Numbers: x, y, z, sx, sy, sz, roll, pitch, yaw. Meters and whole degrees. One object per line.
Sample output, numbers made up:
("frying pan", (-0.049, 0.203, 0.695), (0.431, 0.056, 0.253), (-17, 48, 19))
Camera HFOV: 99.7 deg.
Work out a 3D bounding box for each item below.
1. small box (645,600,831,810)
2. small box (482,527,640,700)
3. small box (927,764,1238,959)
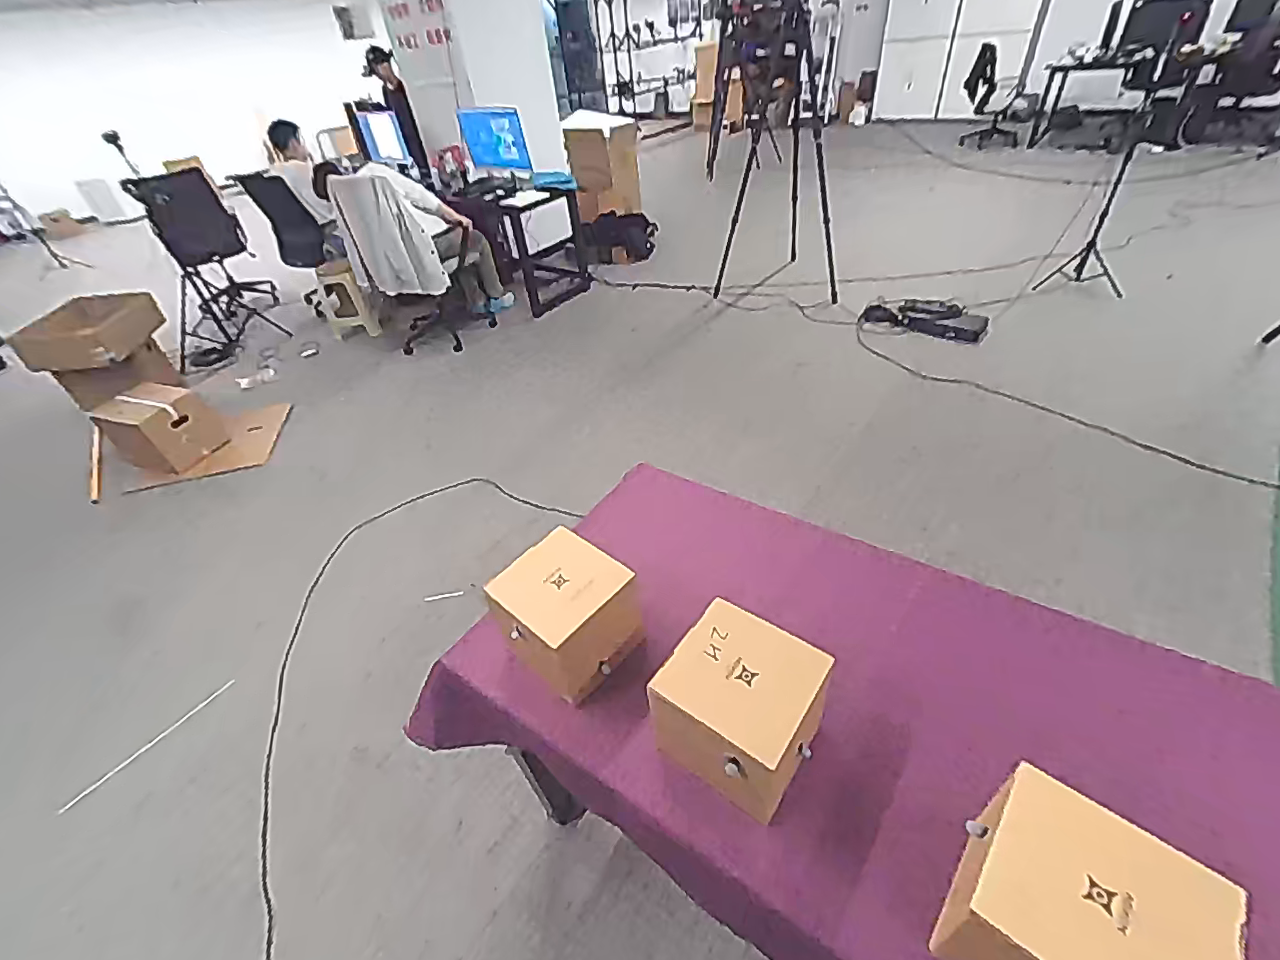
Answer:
("small box", (0.129, 0.301, 0.720), (0.179, 0.176, 0.168), (23, 48, 32))
("small box", (-0.119, 0.213, 0.866), (0.179, 0.176, 0.168), (28, 52, 34))
("small box", (0.410, 0.430, 0.526), (0.179, 0.176, 0.168), (27, 51, 34))
